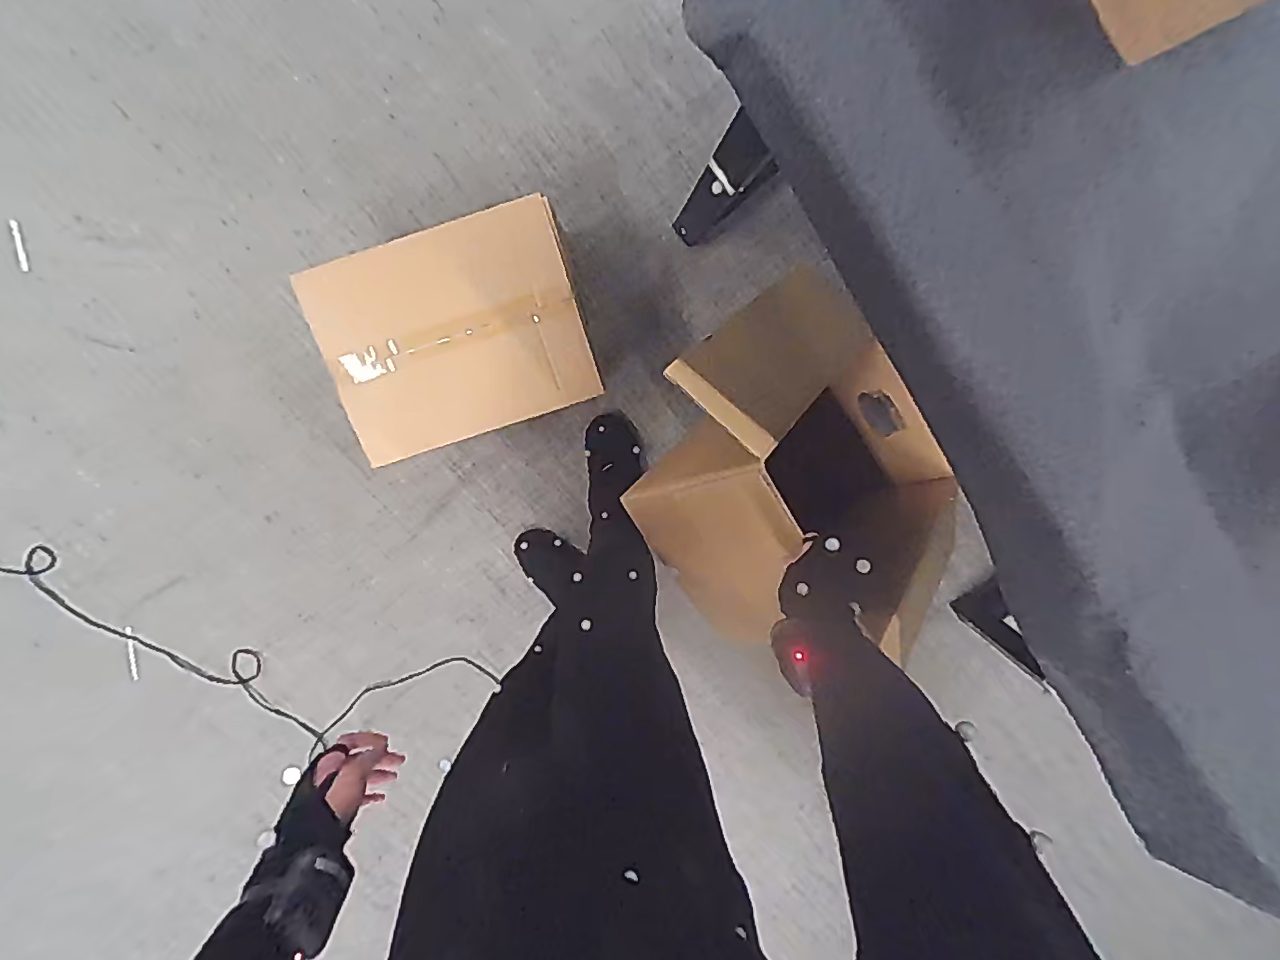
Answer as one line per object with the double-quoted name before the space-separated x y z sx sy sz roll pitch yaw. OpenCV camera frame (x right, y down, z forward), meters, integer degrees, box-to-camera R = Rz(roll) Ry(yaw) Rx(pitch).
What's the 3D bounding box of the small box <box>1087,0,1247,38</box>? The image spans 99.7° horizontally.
"small box" 0.370 -0.402 0.301 0.168 0.176 0.179 -43 104 8
